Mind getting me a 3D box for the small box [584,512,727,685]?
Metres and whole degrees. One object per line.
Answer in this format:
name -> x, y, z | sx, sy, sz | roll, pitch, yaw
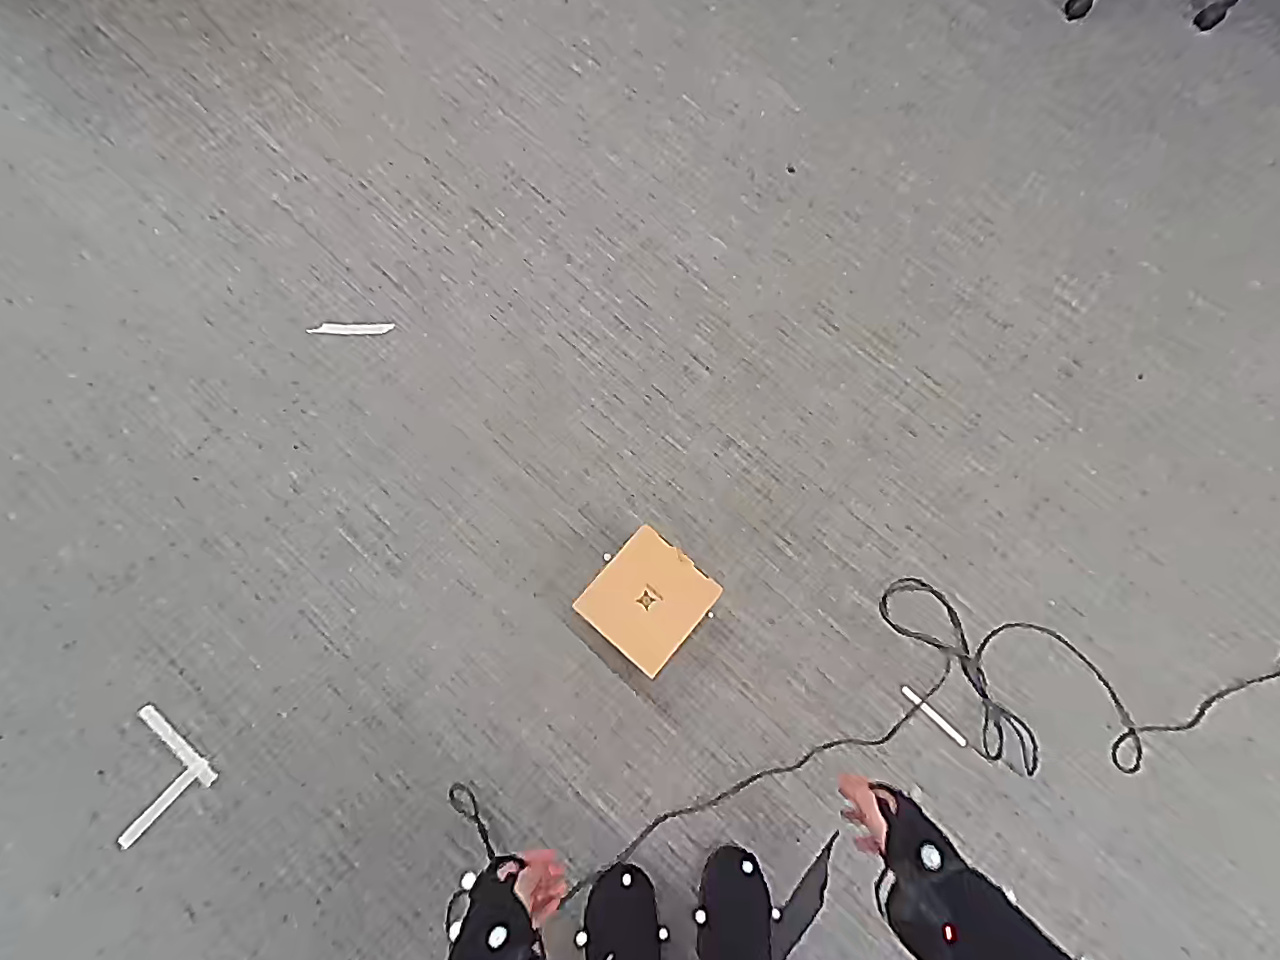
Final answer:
small box -> 0.027, 0.186, 0.865 | 0.179, 0.176, 0.168 | 29, 55, 24
